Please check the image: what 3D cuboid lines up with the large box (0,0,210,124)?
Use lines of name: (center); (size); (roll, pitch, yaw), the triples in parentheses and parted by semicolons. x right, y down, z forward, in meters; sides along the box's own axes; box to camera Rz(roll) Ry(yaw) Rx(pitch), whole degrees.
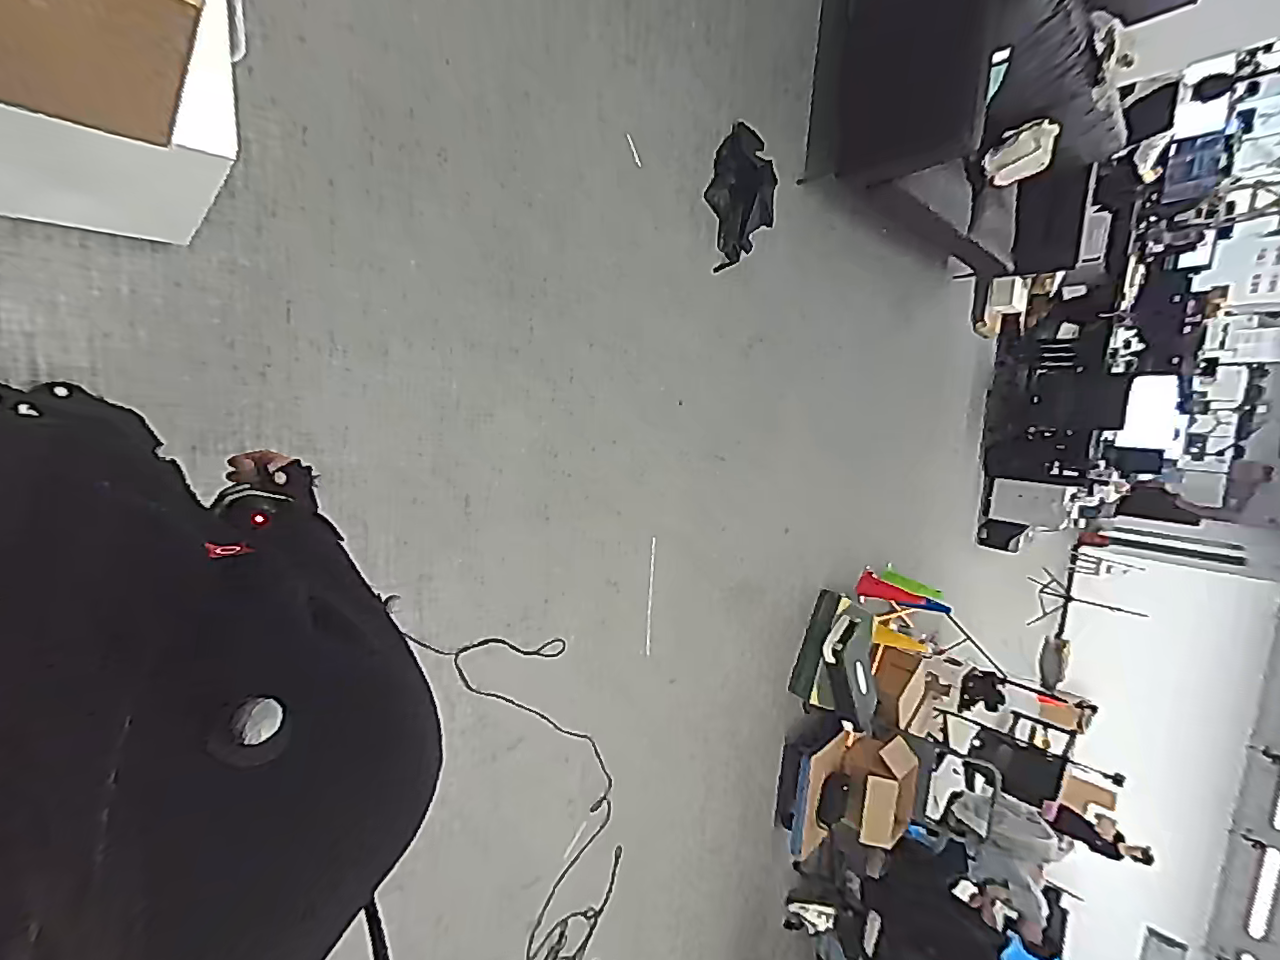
large box: (-0.534, -0.487, 0.313); (0.408, 0.320, 0.320); (-6, 103, -45)
